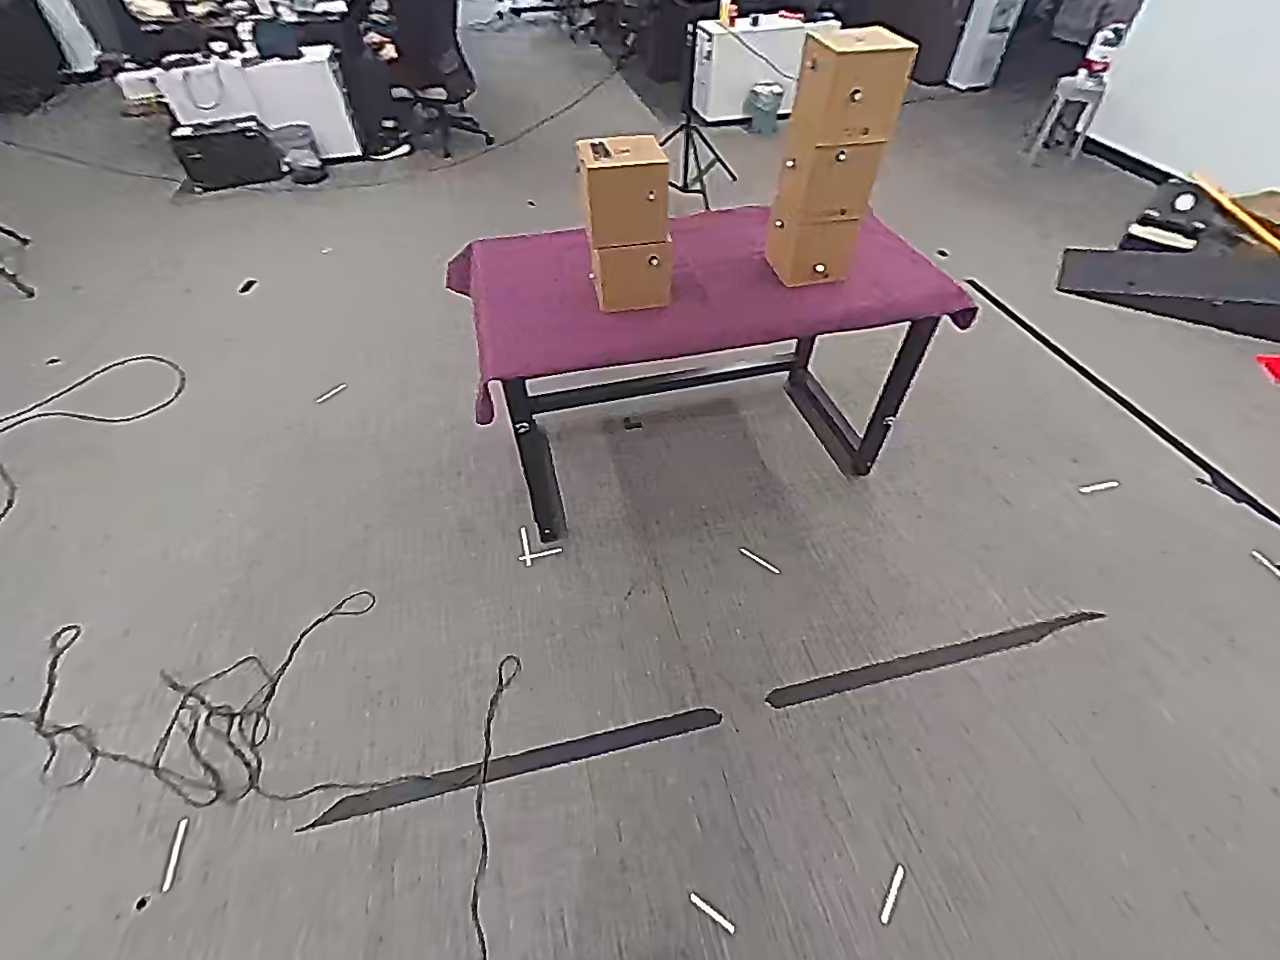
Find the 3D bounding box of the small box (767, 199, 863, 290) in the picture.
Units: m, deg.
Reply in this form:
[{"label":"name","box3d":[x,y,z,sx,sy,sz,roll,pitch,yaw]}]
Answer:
[{"label":"small box","box3d":[0.444,-0.618,1.408,0.168,0.176,0.179,-9,50,-6]}]

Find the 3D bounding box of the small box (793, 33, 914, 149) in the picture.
[{"label":"small box","box3d":[0.442,-0.823,1.152,0.168,0.176,0.179,-8,49,-5]}]

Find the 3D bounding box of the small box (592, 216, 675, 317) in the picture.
[{"label":"small box","box3d":[-0.019,-0.526,1.336,0.179,0.176,0.168,-9,49,-6]}]

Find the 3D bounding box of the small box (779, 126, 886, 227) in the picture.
[{"label":"small box","box3d":[0.443,-0.722,1.281,0.168,0.176,0.179,-8,49,-5]}]
